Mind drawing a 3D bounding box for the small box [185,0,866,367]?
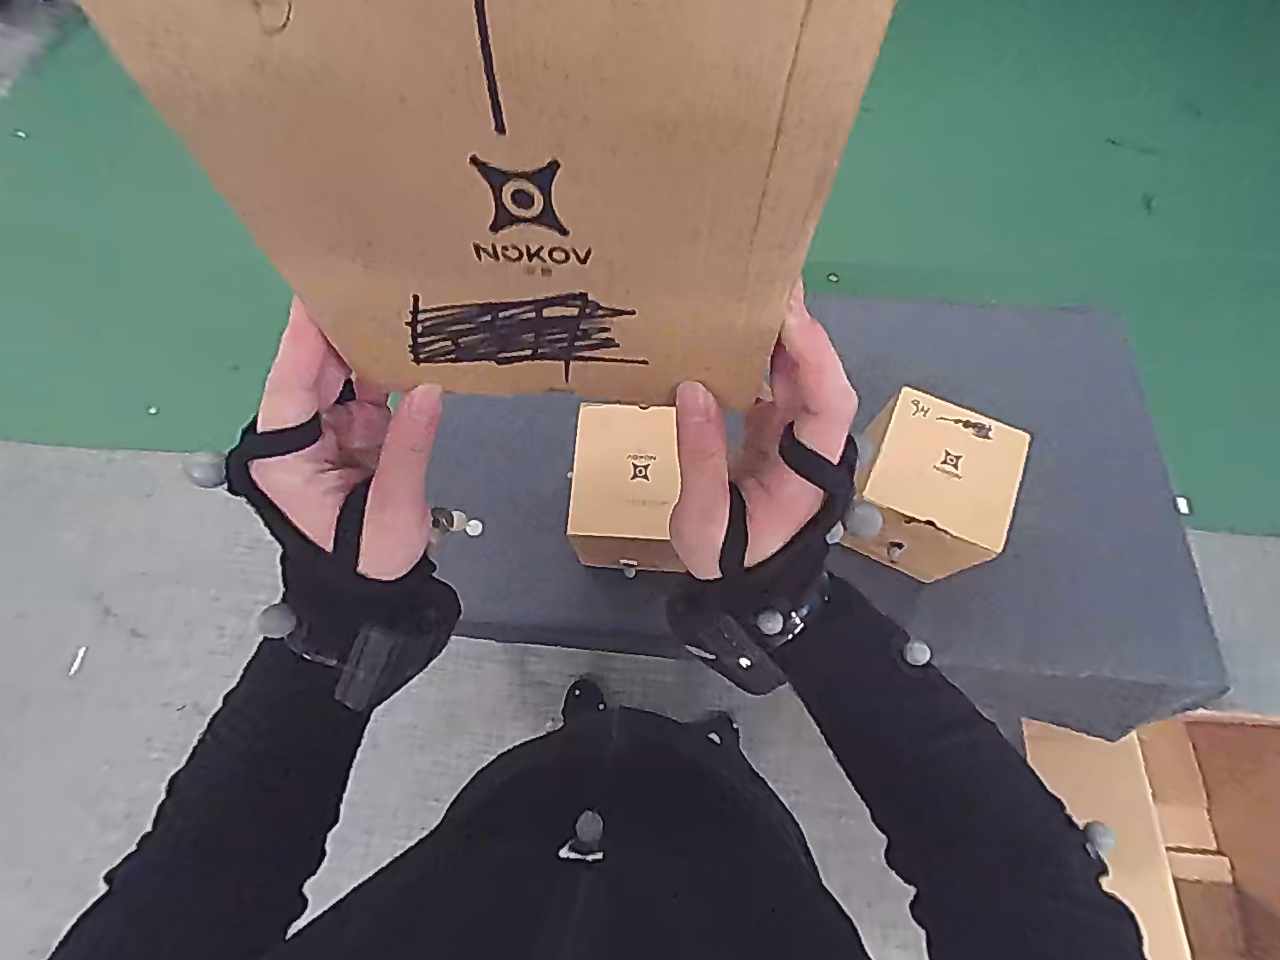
[{"bbox_3d":[-0.025,-0.167,0.204,0.168,0.179,0.176,3,63,0],"label":"small box"}]

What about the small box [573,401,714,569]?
[{"bbox_3d":[0.008,0.013,0.726,0.168,0.176,0.179,2,69,2],"label":"small box"}]

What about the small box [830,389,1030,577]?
[{"bbox_3d":[0.379,0.014,0.738,0.168,0.176,0.179,25,71,10],"label":"small box"}]
